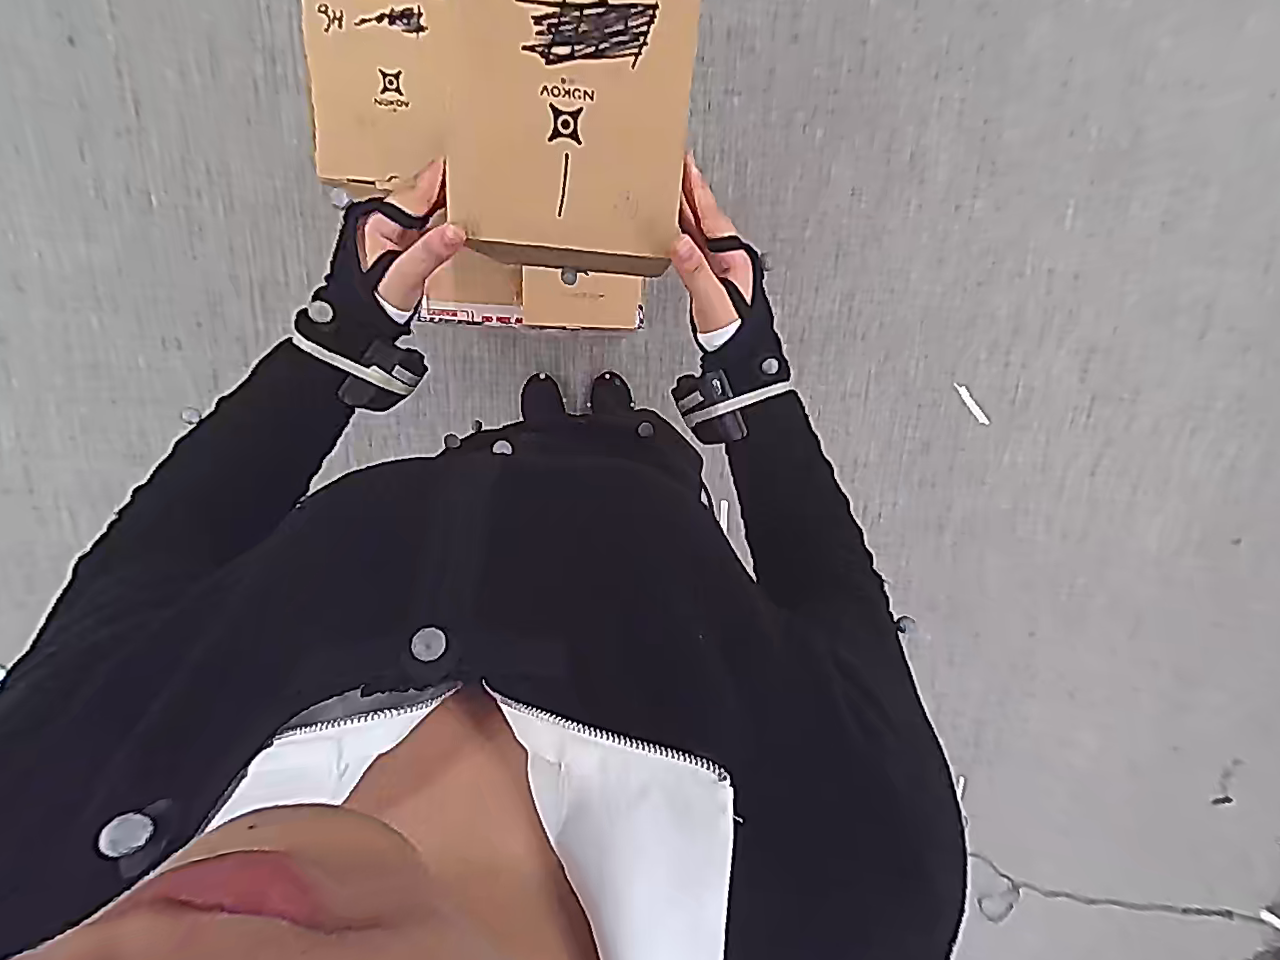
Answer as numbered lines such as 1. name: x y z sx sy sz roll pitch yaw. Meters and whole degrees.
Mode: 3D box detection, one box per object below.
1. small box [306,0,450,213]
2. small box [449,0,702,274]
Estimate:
1. small box: -0.259 -0.423 0.641 0.168 0.176 0.179 2 105 -3
2. small box: -0.049 -0.276 0.444 0.168 0.176 0.179 4 107 -2
